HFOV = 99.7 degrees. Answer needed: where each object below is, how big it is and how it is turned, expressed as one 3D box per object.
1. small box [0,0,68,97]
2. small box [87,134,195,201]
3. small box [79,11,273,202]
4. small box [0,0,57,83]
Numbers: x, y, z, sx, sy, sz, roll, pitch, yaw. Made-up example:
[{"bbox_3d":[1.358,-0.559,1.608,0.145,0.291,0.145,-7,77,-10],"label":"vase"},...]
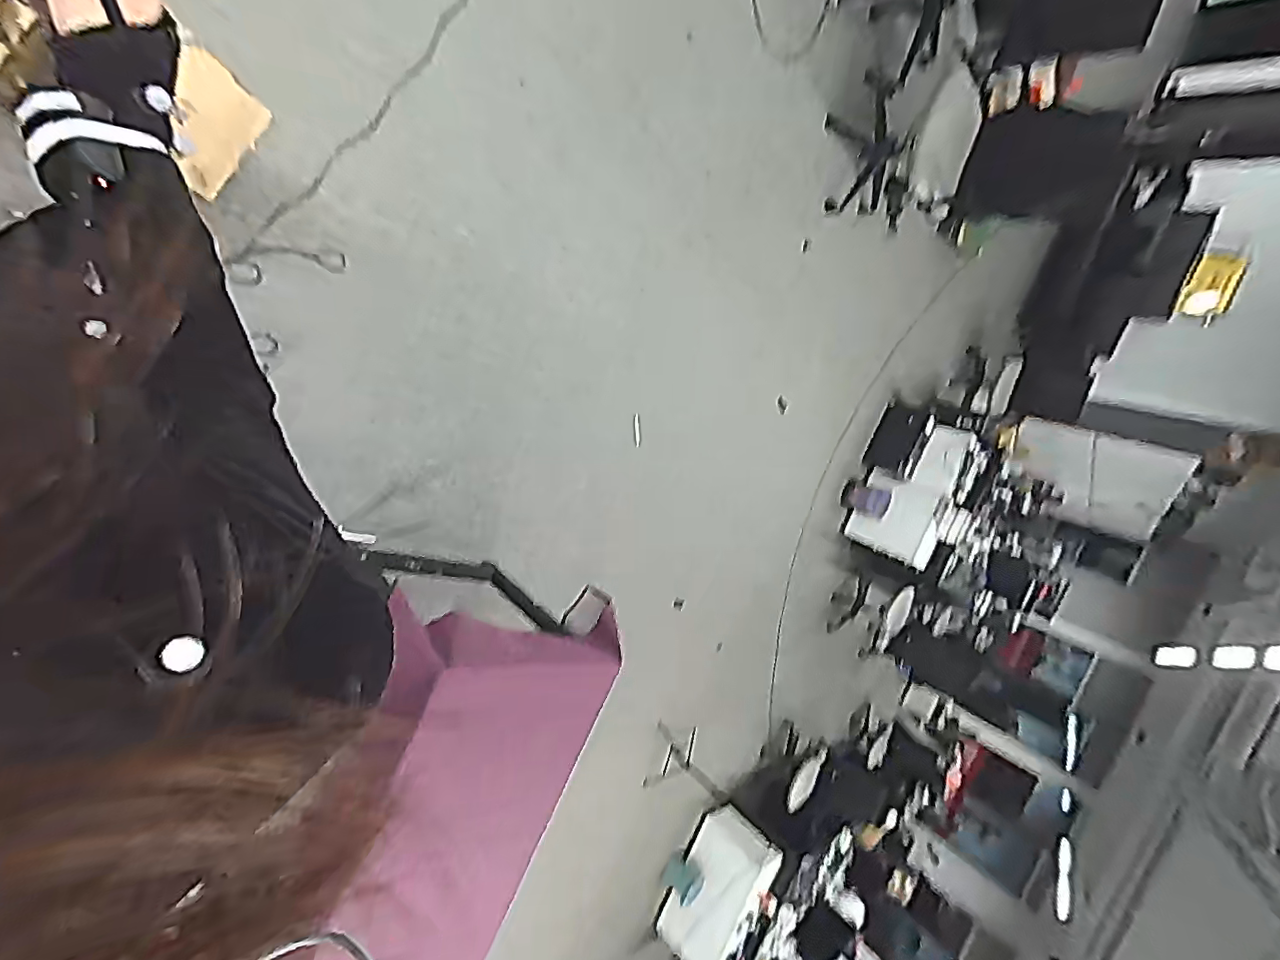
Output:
[{"bbox_3d":[-1.075,-0.762,0.868,0.168,0.176,0.179,31,87,-48],"label":"small box"},{"bbox_3d":[-0.940,-0.677,1.056,0.168,0.176,0.179,24,92,-49],"label":"small box"},{"bbox_3d":[-0.722,-0.565,0.841,0.168,0.176,0.179,38,81,-48],"label":"small box"},{"bbox_3d":[-0.975,-0.695,0.756,0.179,0.176,0.168,37,82,-48],"label":"small box"}]
